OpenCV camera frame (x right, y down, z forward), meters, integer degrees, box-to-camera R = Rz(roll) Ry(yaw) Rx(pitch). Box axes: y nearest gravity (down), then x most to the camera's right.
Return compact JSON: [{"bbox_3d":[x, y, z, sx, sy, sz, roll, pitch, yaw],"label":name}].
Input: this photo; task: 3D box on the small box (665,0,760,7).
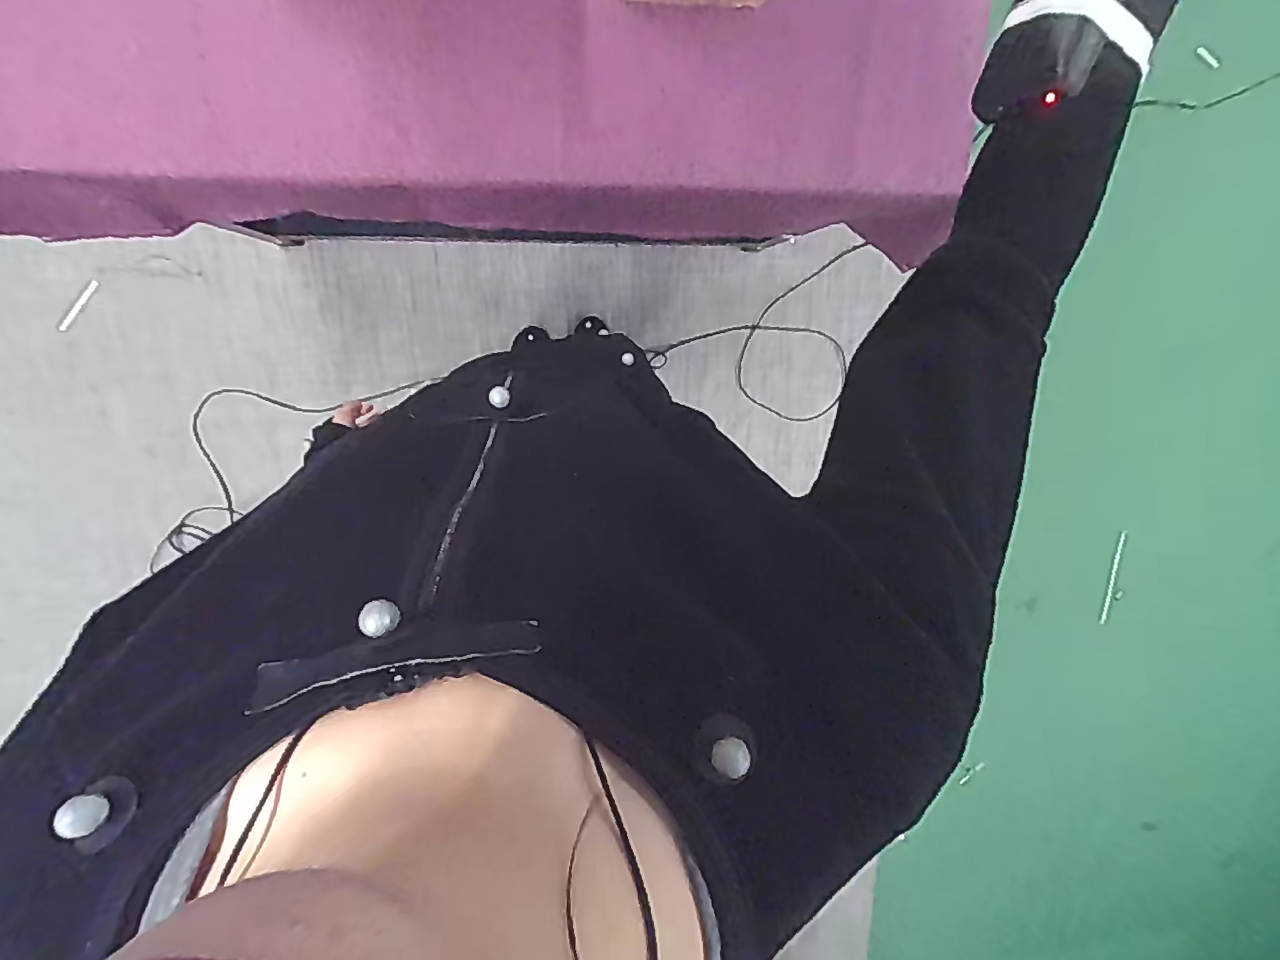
[{"bbox_3d":[0.077,-0.617,0.540,0.179,0.176,0.168,-3,107,-9],"label":"small box"}]
